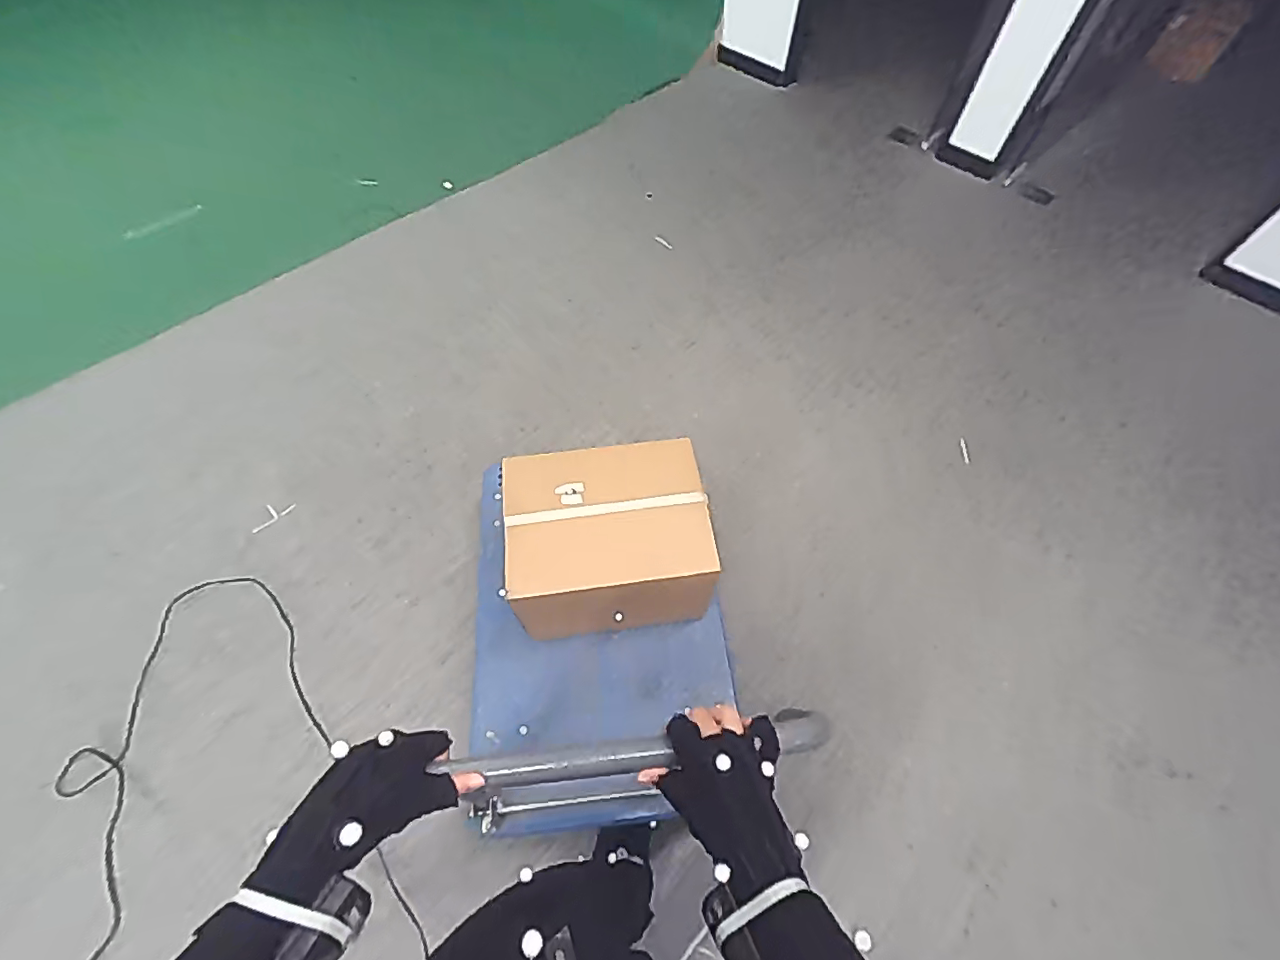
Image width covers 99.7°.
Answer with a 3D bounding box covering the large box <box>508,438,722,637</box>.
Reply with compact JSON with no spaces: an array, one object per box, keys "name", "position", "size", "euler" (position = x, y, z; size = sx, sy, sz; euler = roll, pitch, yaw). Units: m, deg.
[{"name":"large box","position":[-0.061,0.138,1.215],"size":[0.408,0.320,0.320],"euler":[-7,59,-5]}]
